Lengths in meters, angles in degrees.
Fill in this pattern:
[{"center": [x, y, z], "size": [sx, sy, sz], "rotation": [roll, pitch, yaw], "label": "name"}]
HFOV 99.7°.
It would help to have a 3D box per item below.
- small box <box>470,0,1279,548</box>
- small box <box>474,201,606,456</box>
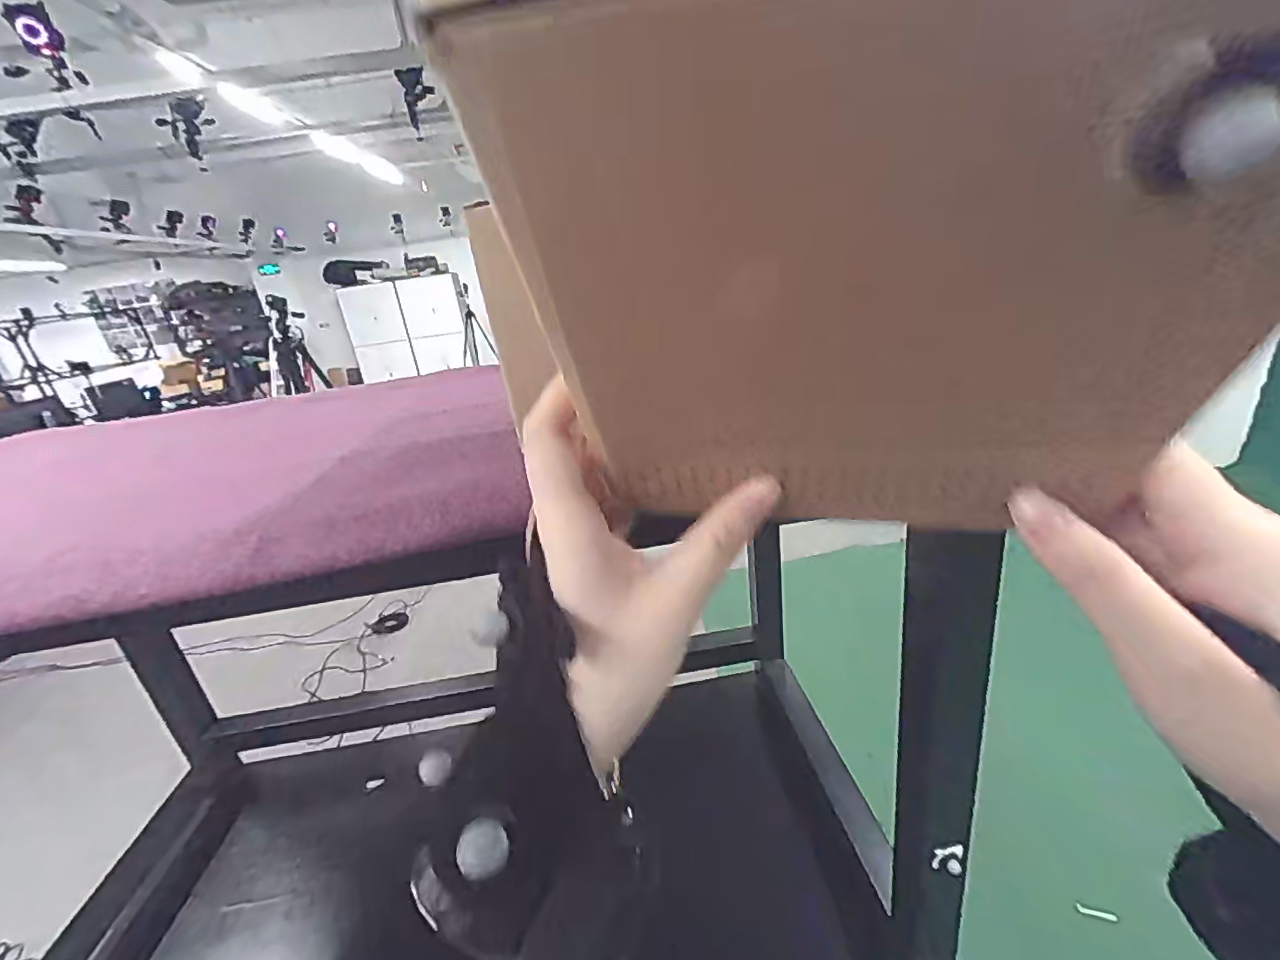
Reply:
[{"center": [0.076, -0.088, 0.194], "size": [0.179, 0.176, 0.168], "rotation": [2, 55, 13], "label": "small box"}, {"center": [-0.008, -0.130, 0.440], "size": [0.179, 0.176, 0.168], "rotation": [-10, 18, 3], "label": "small box"}]
